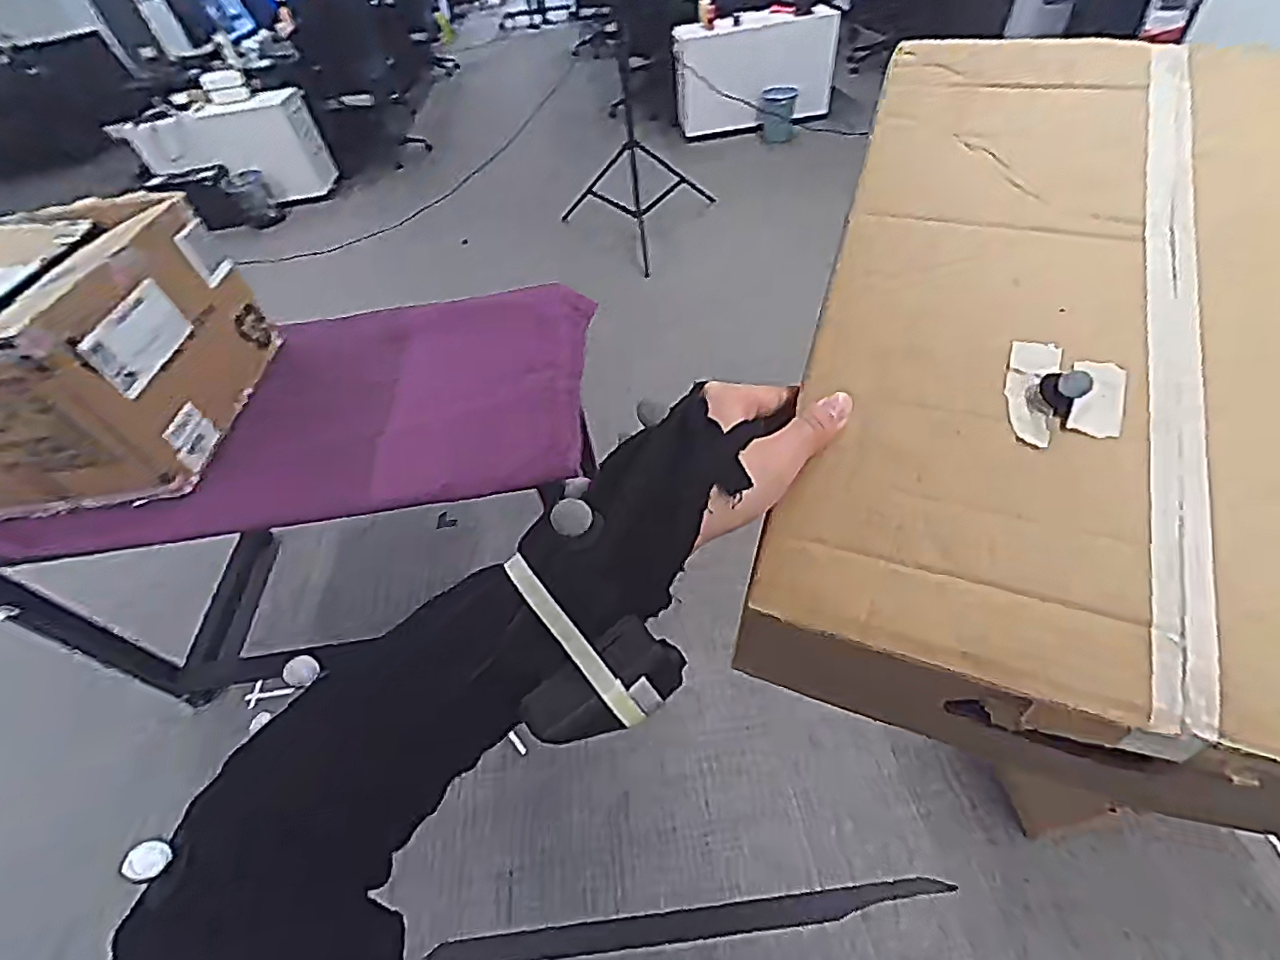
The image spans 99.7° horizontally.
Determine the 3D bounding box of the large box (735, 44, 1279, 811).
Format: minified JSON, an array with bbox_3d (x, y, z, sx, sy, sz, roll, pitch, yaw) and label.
[{"bbox_3d":[0.270,-0.029,0.405,0.320,0.320,0.408,14,69,14],"label":"large box"}]
